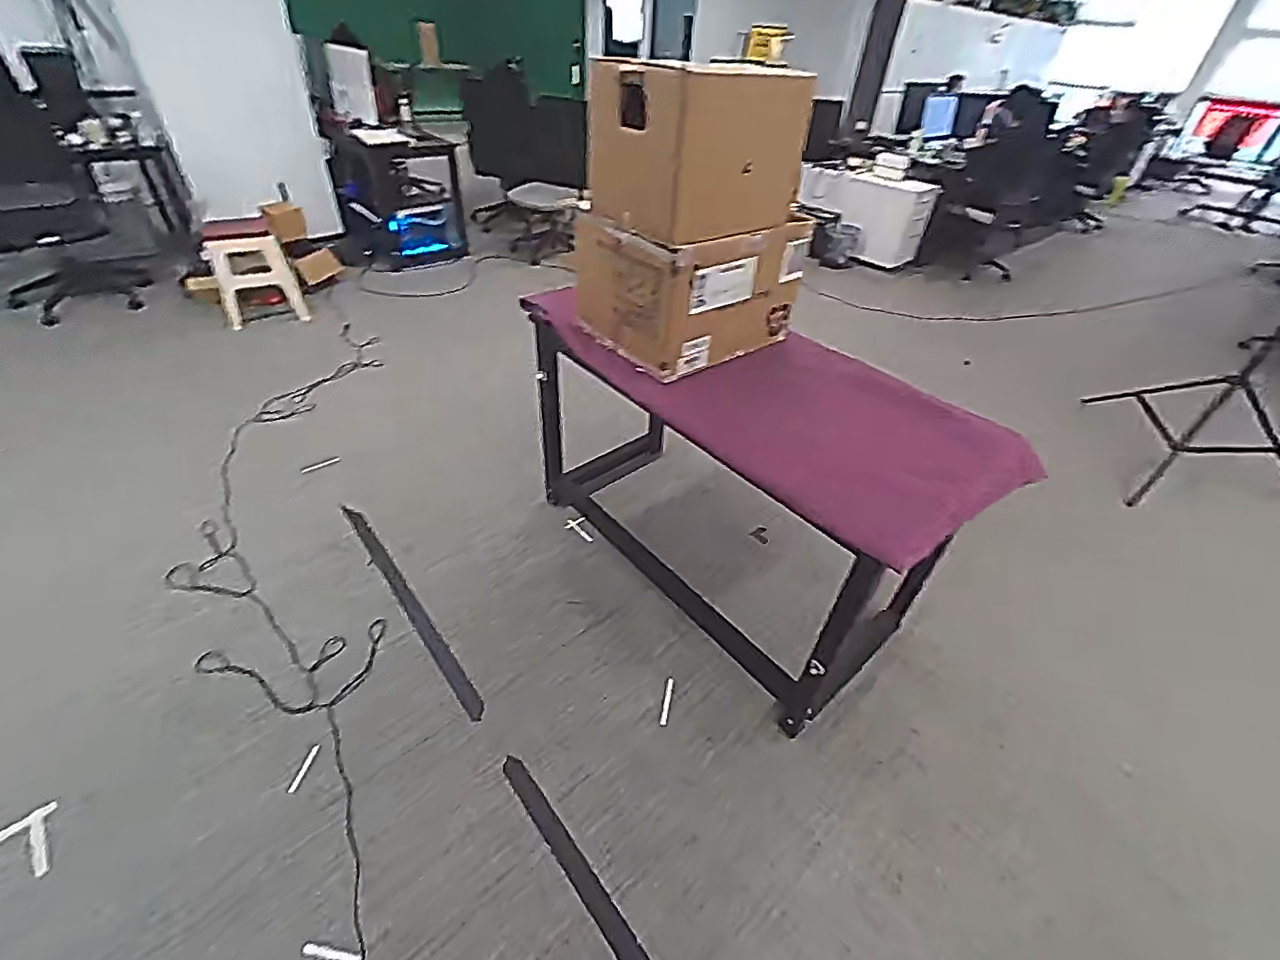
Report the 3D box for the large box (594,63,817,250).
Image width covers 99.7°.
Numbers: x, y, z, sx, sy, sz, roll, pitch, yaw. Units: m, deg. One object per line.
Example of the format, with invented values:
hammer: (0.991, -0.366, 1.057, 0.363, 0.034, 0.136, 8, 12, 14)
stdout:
large box: (0.138, -0.763, 1.258, 0.408, 0.320, 0.320, -28, 48, -32)
